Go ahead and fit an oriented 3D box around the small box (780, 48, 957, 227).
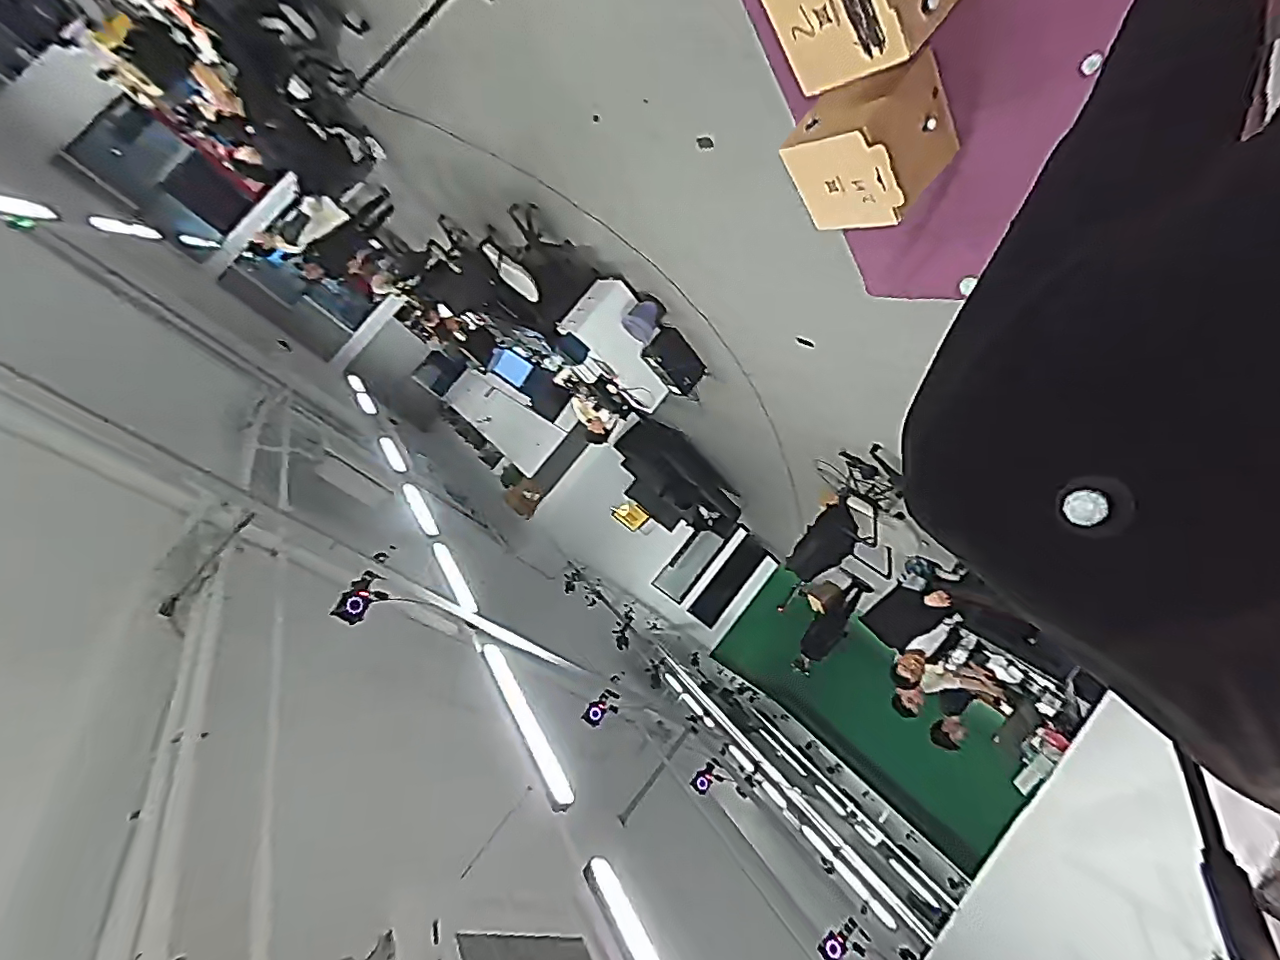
[{"bbox_3d":[0.371,-0.544,0.881,0.168,0.176,0.179,42,174,-35],"label":"small box"}]
